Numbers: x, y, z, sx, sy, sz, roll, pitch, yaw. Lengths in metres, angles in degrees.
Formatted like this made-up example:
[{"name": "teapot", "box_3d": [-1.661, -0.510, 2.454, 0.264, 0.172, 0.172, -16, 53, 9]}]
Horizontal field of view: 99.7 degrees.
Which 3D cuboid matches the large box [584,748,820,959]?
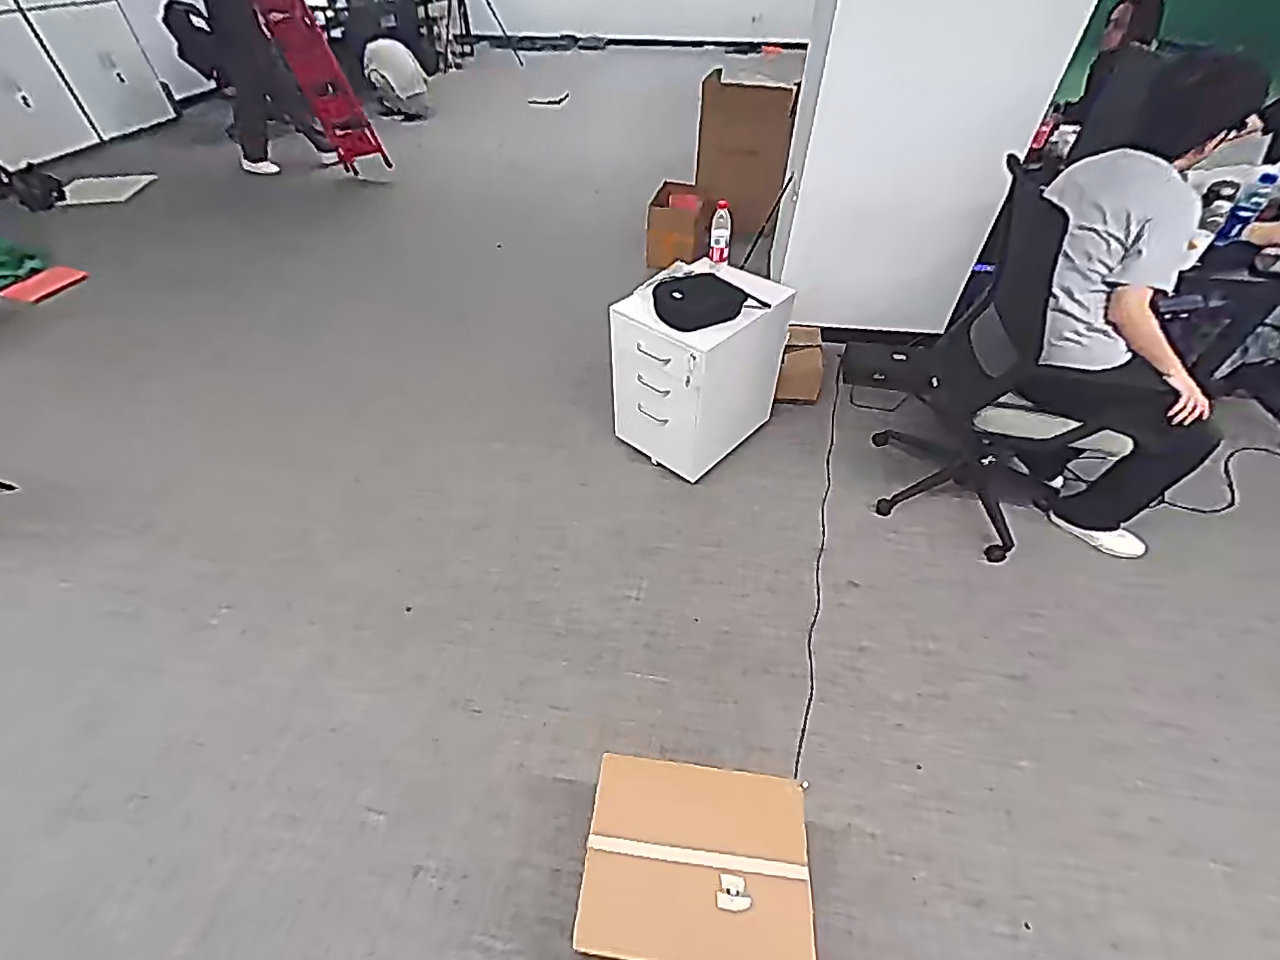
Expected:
[{"name": "large box", "box_3d": [0.116, 0.786, 1.107, 0.408, 0.320, 0.320, 6, 47, 5]}]
